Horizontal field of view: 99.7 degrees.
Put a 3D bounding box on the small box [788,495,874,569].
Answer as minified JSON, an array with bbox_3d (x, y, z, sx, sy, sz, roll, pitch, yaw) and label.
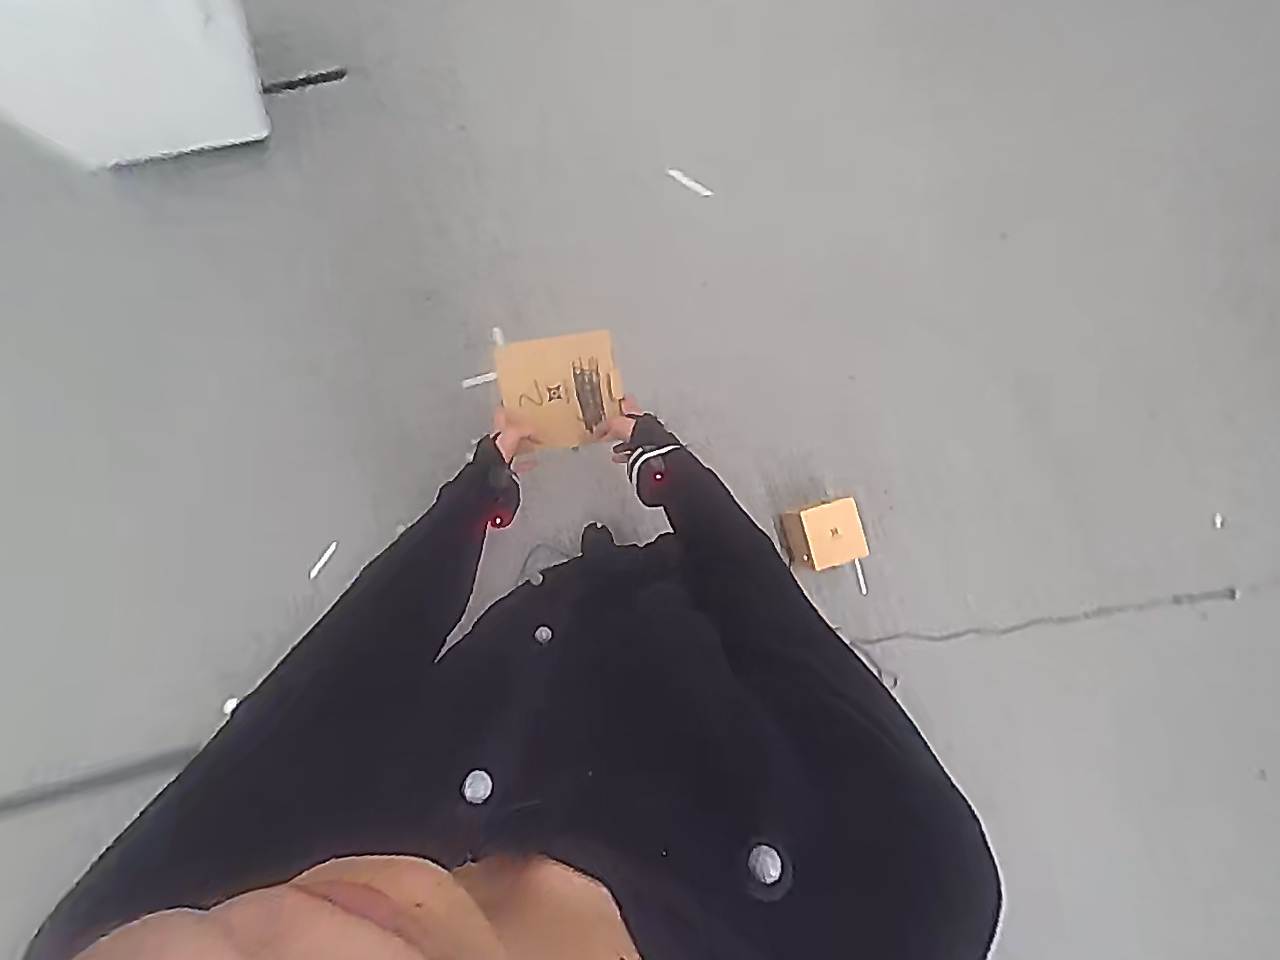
[{"bbox_3d":[0.553,0.147,1.590,0.168,0.176,0.179,-15,91,-4],"label":"small box"}]
